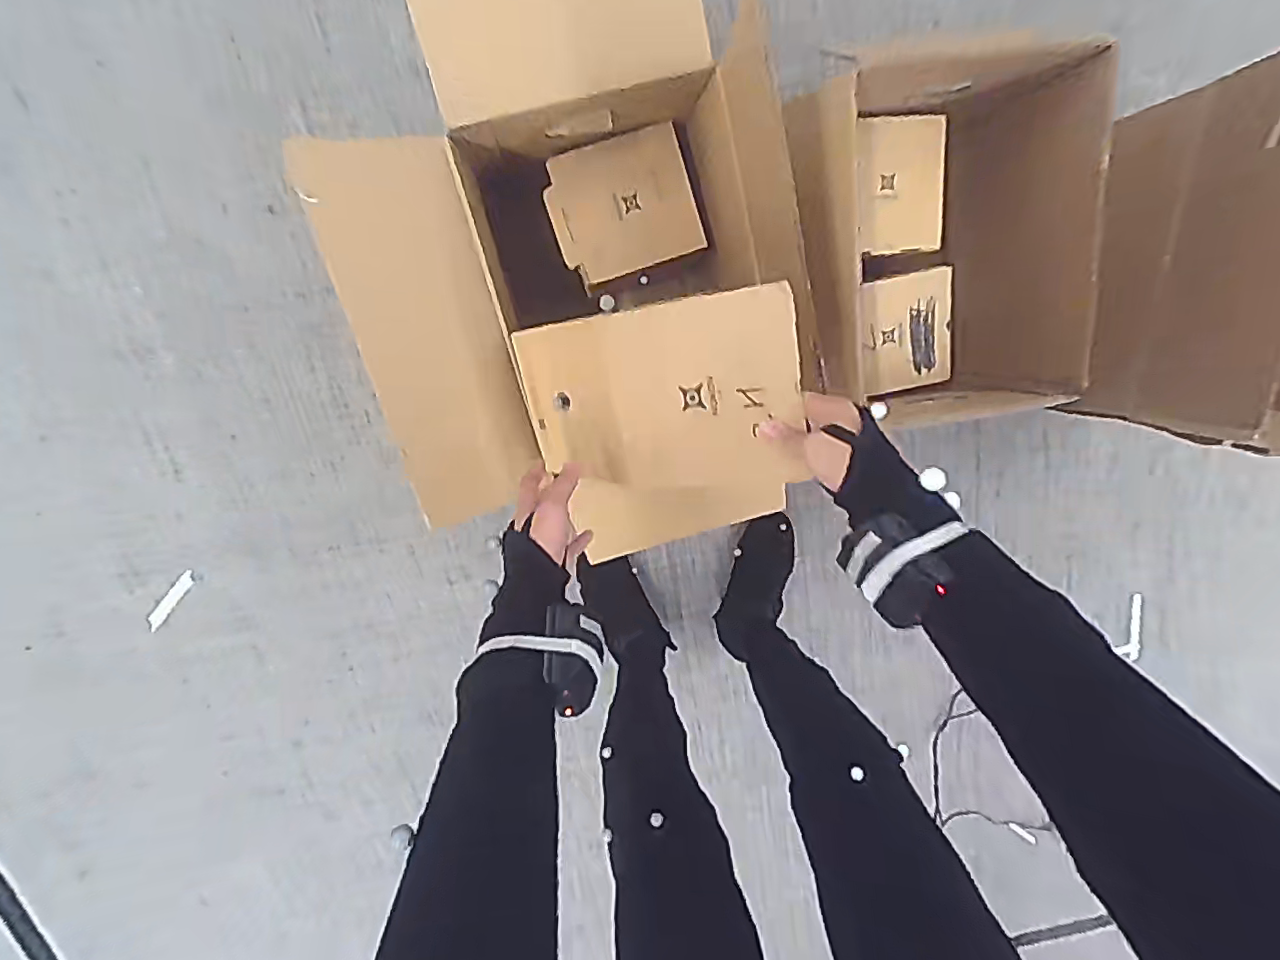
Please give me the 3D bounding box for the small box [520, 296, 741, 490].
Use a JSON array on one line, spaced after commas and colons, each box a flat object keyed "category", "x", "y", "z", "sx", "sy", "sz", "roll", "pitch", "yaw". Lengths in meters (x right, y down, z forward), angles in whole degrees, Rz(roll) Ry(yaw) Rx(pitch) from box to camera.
[{"category": "small box", "x": -0.015, "y": -0.099, "z": 0.603, "sx": 0.179, "sy": 0.176, "sz": 0.168, "roll": -25, "pitch": 113, "yaw": -37}]
